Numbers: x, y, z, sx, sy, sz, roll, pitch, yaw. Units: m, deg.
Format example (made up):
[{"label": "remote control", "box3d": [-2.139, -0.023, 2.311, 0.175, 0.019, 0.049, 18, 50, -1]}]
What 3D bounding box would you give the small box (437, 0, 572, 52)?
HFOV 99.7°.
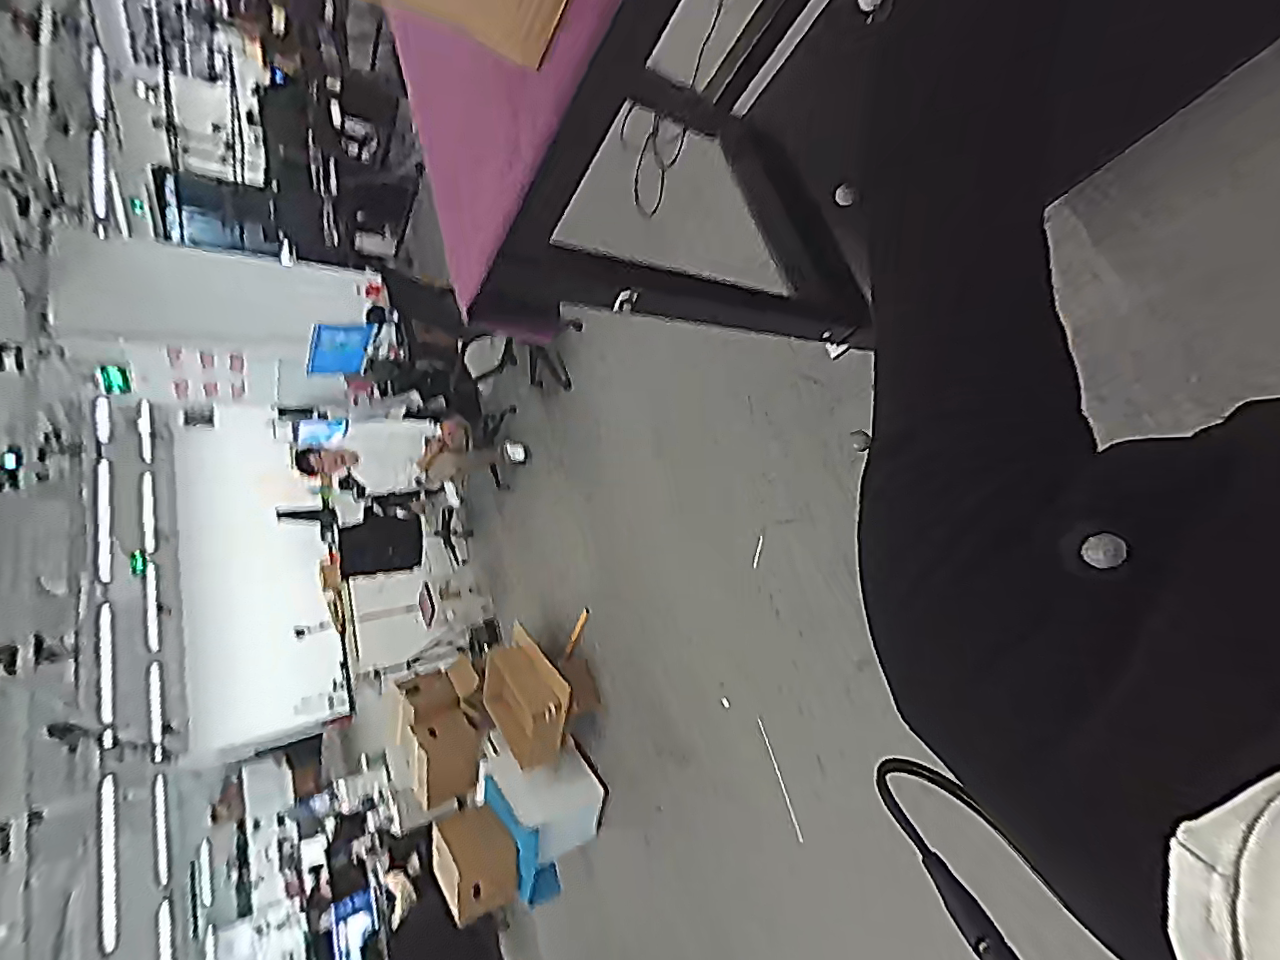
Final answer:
[{"label": "small box", "box3d": [-0.115, -0.452, 0.366, 0.179, 0.176, 0.168, -35, 65, 48]}]
